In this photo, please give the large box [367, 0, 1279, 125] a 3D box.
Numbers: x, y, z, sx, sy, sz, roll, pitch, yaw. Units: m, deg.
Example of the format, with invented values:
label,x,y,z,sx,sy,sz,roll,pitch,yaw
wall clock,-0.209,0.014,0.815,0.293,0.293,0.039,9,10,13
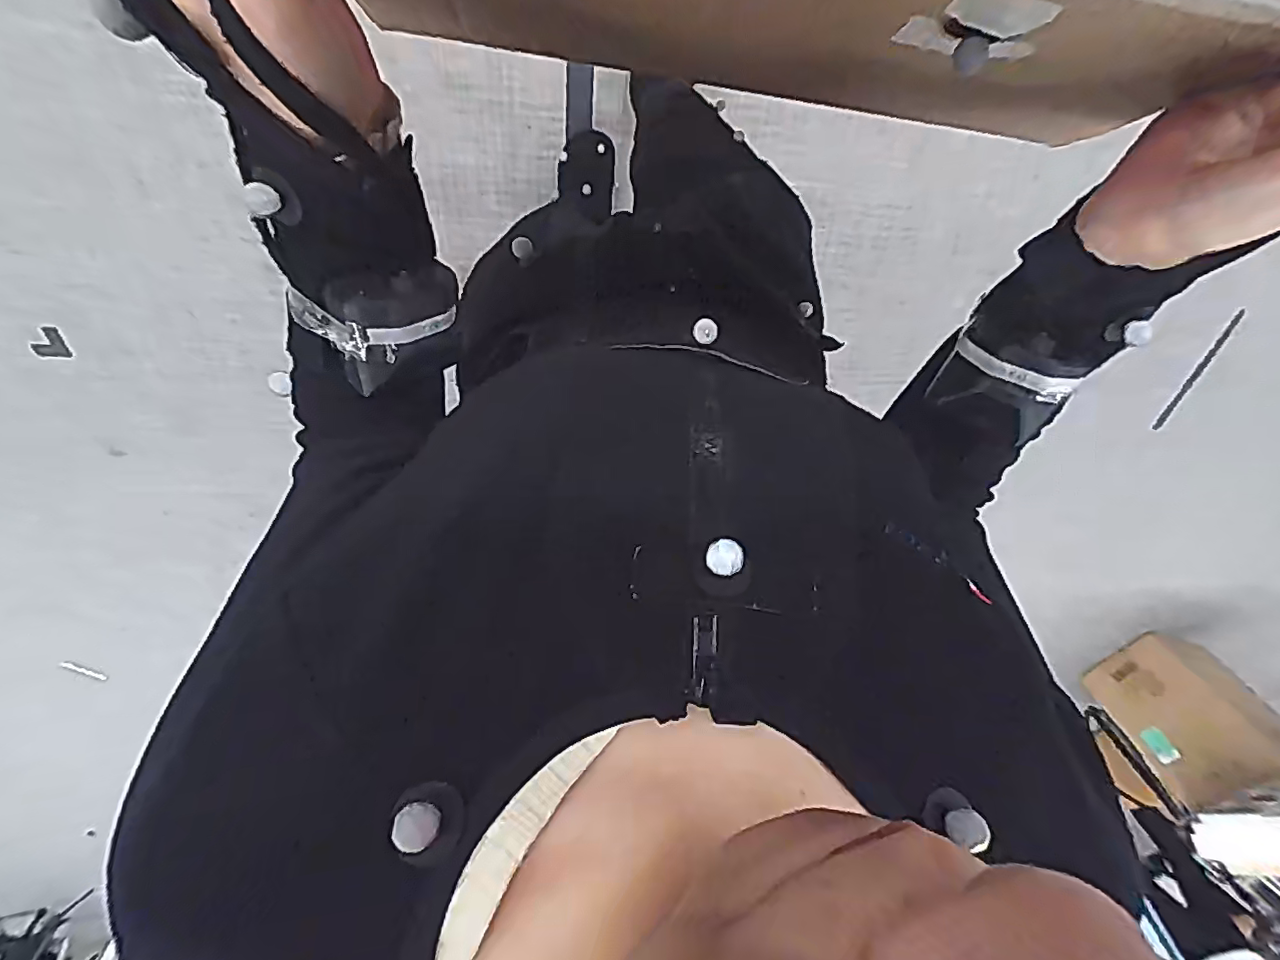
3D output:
label,x,y,z,sx,sy,sz,roll,pitch,yaw
large box,0.086,-0.331,0.125,0.408,0.320,0.320,3,108,-7
